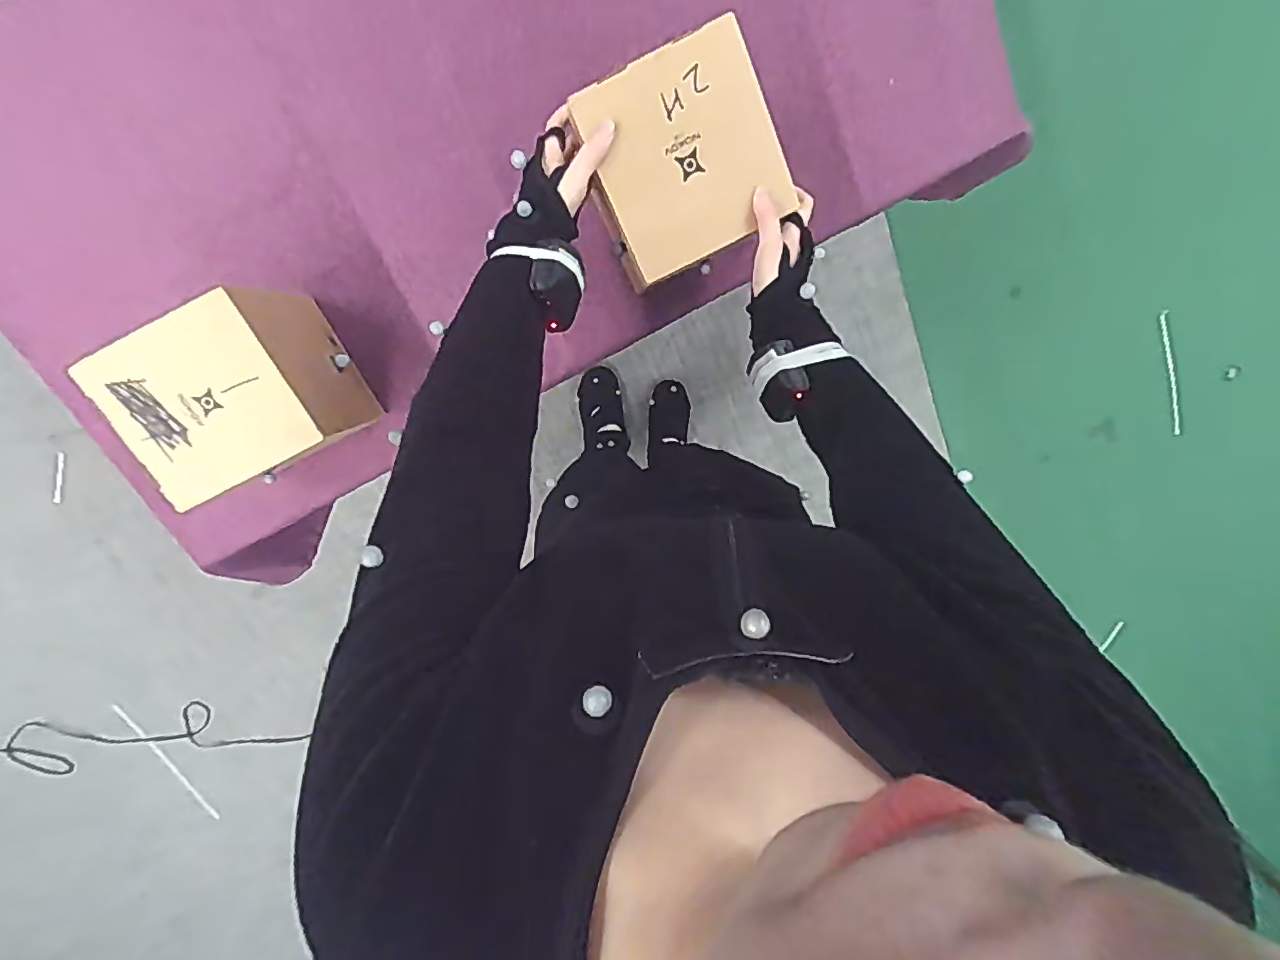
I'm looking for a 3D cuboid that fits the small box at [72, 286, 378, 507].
[{"bbox_3d":[-0.439,-0.096,0.609,0.179,0.176,0.168,-26,106,3],"label":"small box"}]
